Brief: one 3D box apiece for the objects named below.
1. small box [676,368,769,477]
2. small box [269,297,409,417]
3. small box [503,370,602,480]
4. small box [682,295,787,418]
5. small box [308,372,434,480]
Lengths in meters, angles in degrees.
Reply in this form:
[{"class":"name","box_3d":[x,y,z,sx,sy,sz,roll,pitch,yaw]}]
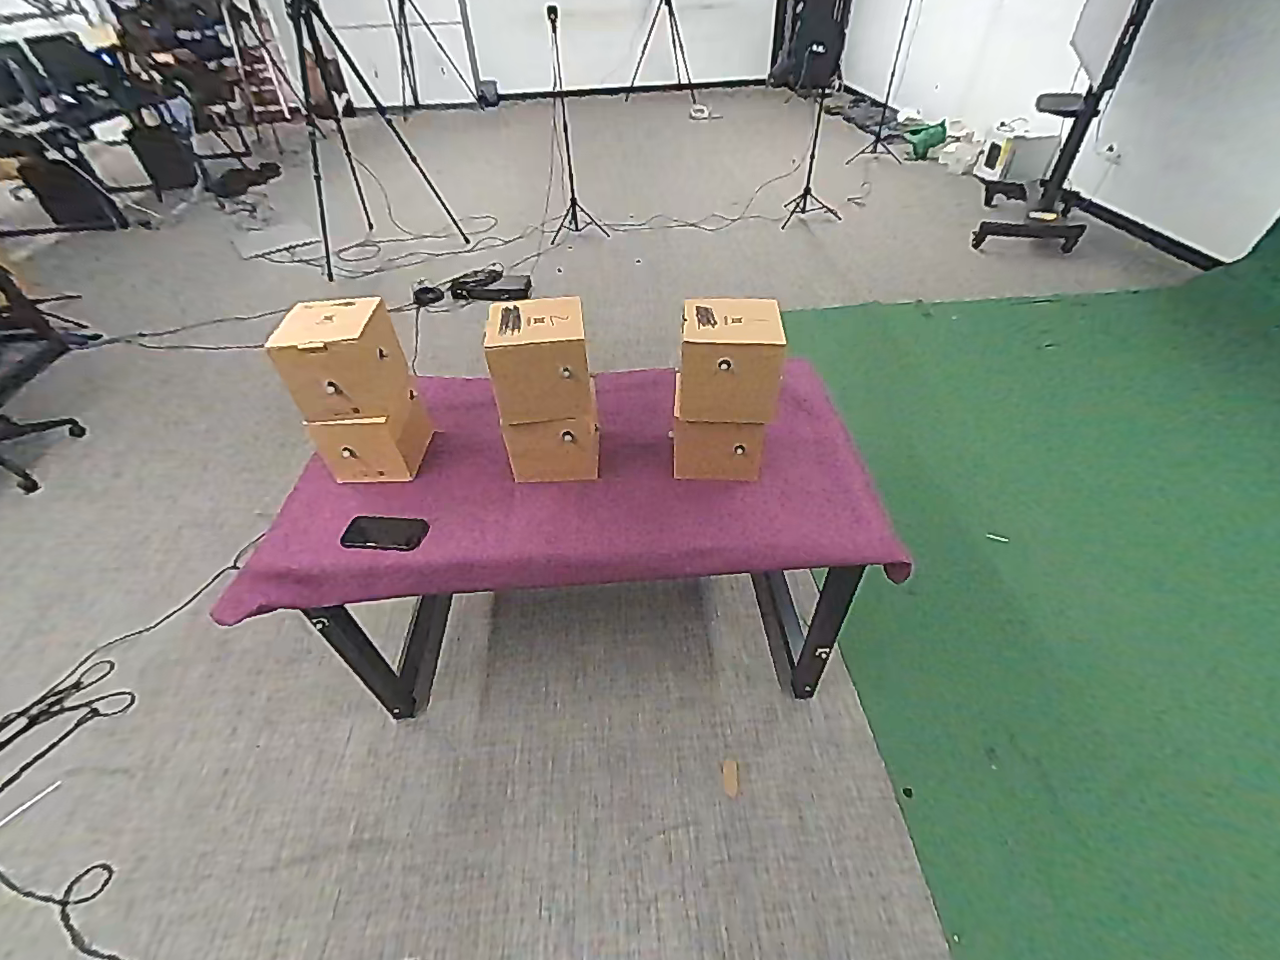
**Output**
[{"class":"small box","box_3d":[0.166,-0.120,1.129,0.179,0.176,0.168,1,43,6]},{"class":"small box","box_3d":[-0.573,-0.236,1.060,0.168,0.176,0.179,-5,44,-3]},{"class":"small box","box_3d":[-0.174,-0.115,1.144,0.179,0.176,0.168,-3,44,1]},{"class":"small box","box_3d":[0.167,-0.228,1.005,0.179,0.176,0.168,2,44,5]},{"class":"small box","box_3d":[-0.565,-0.111,1.167,0.168,0.176,0.179,-2,44,1]}]
